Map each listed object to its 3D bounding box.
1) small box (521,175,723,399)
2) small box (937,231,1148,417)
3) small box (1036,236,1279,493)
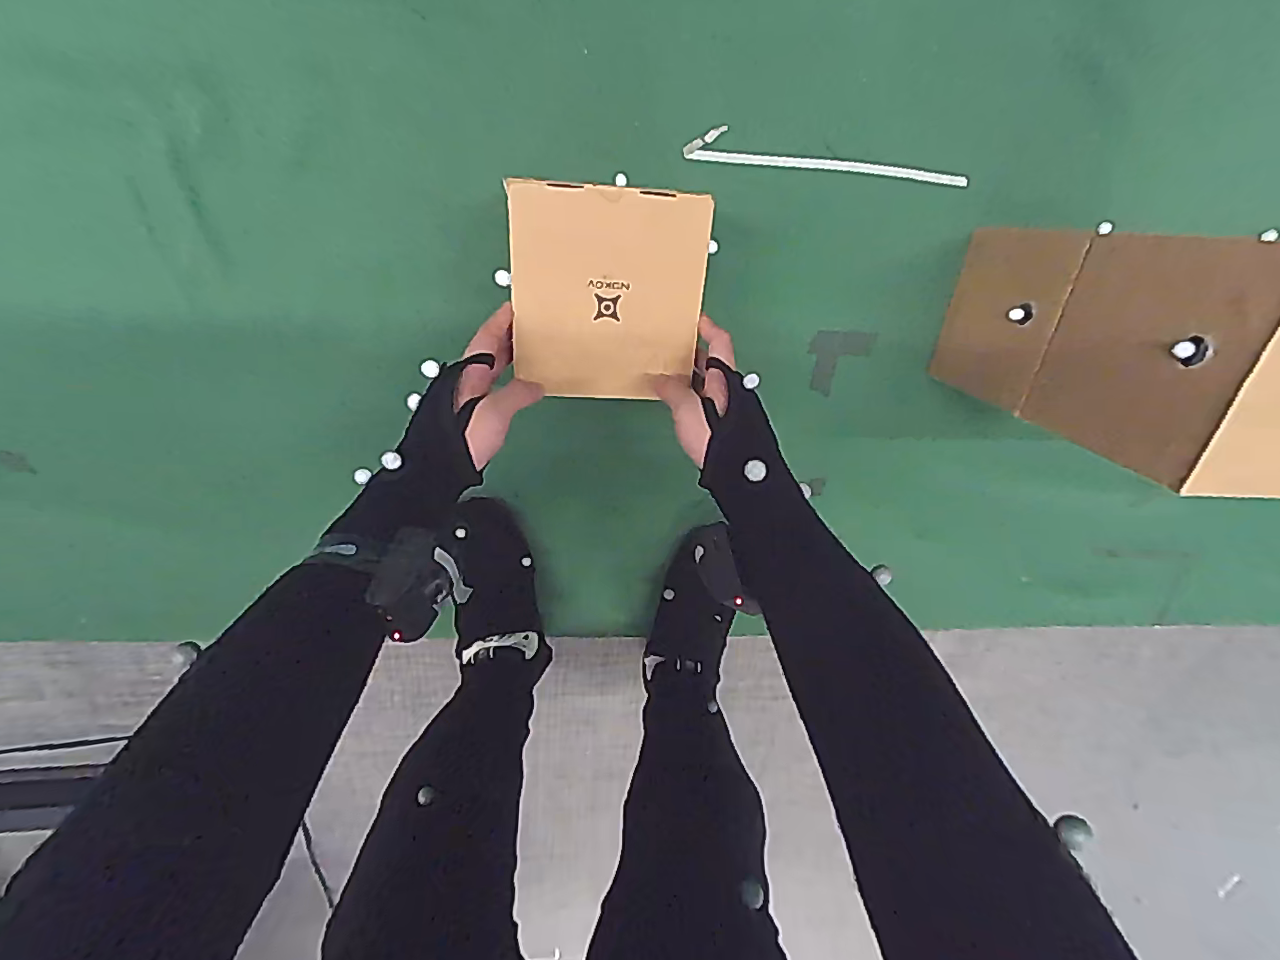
[{"bbox_3d":[-0.027,-0.193,0.538,0.168,0.176,0.179,1,116,-7],"label":"small box"},{"bbox_3d":[0.470,-0.174,0.600,0.168,0.176,0.179,3,116,-8],"label":"small box"},{"bbox_3d":[0.488,-0.102,0.454,0.168,0.176,0.179,2,116,-7],"label":"small box"}]
